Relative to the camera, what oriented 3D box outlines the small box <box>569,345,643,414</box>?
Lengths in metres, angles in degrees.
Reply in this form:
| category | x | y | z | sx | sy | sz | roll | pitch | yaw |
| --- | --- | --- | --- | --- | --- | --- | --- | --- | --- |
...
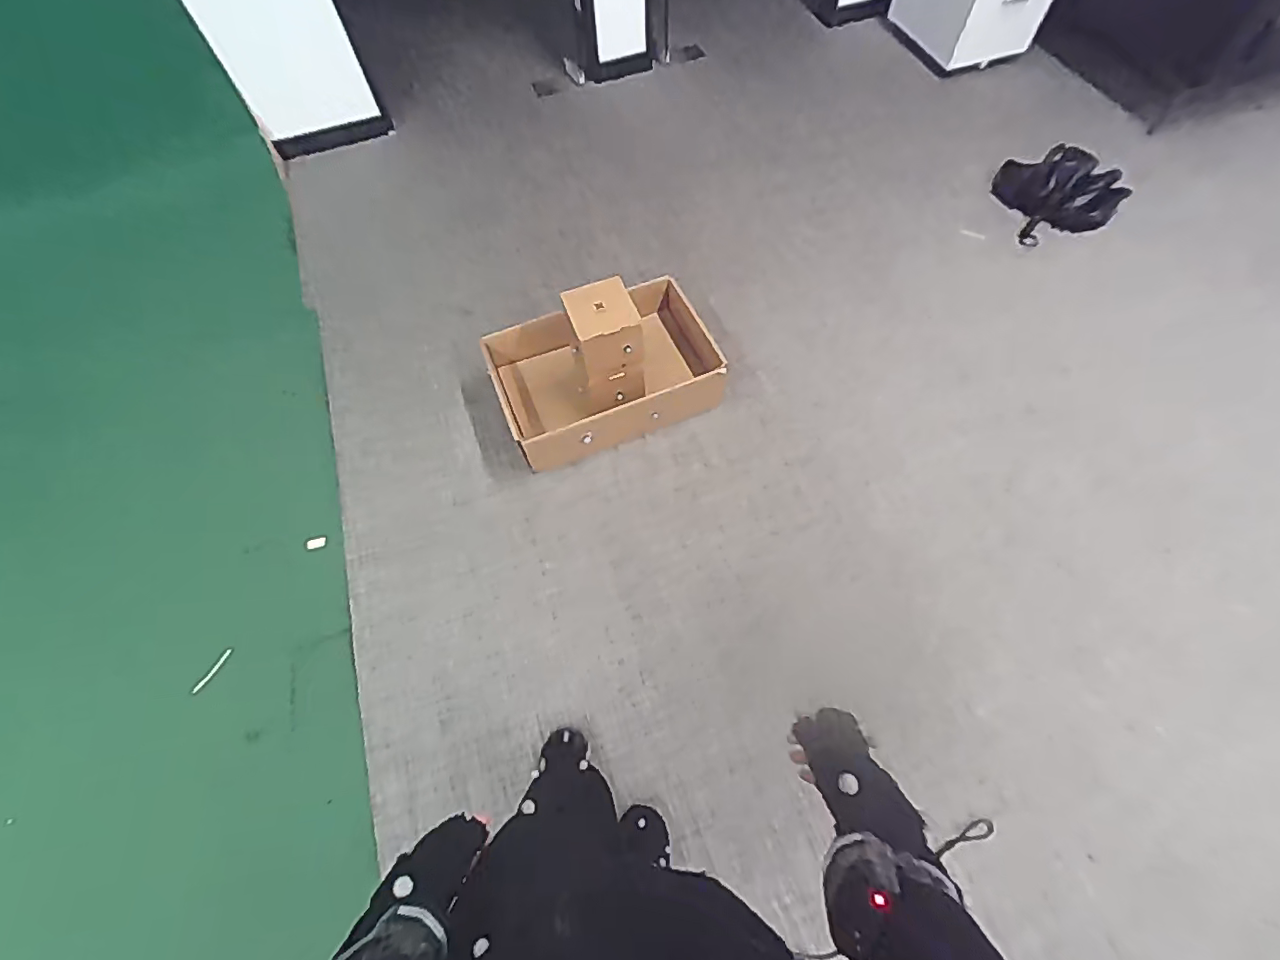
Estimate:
| category | x | y | z | sx | sy | sz | roll | pitch | yaw |
| --- | --- | --- | --- | --- | --- | --- | --- | --- | --- |
| small box | -0.095 | -0.311 | 1.572 | 0.168 | 0.176 | 0.179 | -19 | 64 | -7 |

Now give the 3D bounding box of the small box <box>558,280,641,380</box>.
| category | x | y | z | sx | sy | sz | roll | pitch | yaw |
| --- | --- | --- | --- | --- | --- | --- | --- | --- | --- |
| small box | -0.101 | -0.387 | 1.429 | 0.168 | 0.176 | 0.179 | -20 | 63 | -8 |
